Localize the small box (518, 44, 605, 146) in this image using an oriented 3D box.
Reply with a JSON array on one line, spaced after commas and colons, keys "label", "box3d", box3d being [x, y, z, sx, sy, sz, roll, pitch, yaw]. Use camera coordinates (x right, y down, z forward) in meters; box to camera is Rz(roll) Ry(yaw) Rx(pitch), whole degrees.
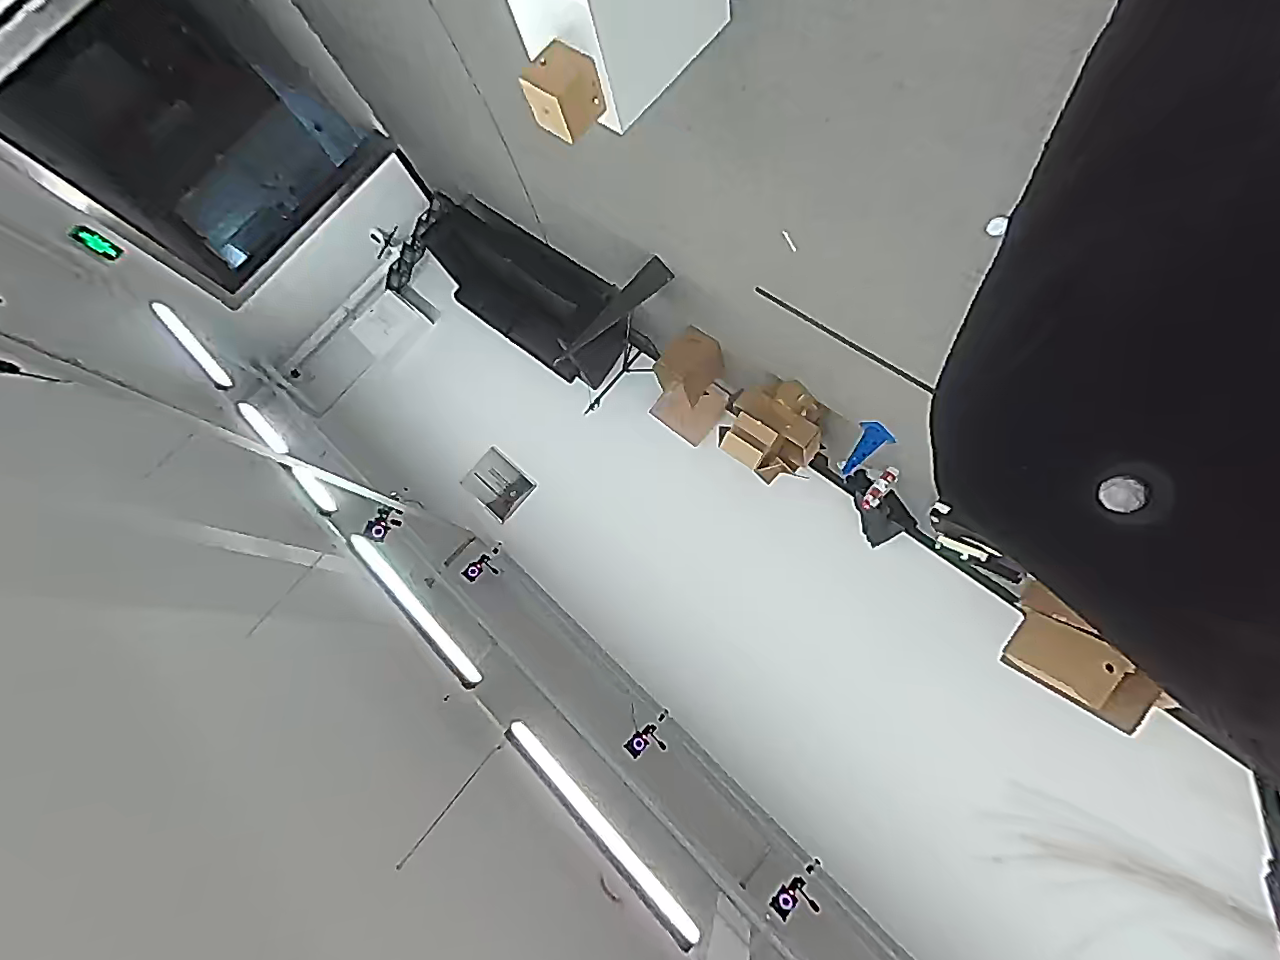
[{"label": "small box", "box3d": [-0.235, -1.188, 1.662, 0.179, 0.176, 0.168, 40, 176, 18]}]
